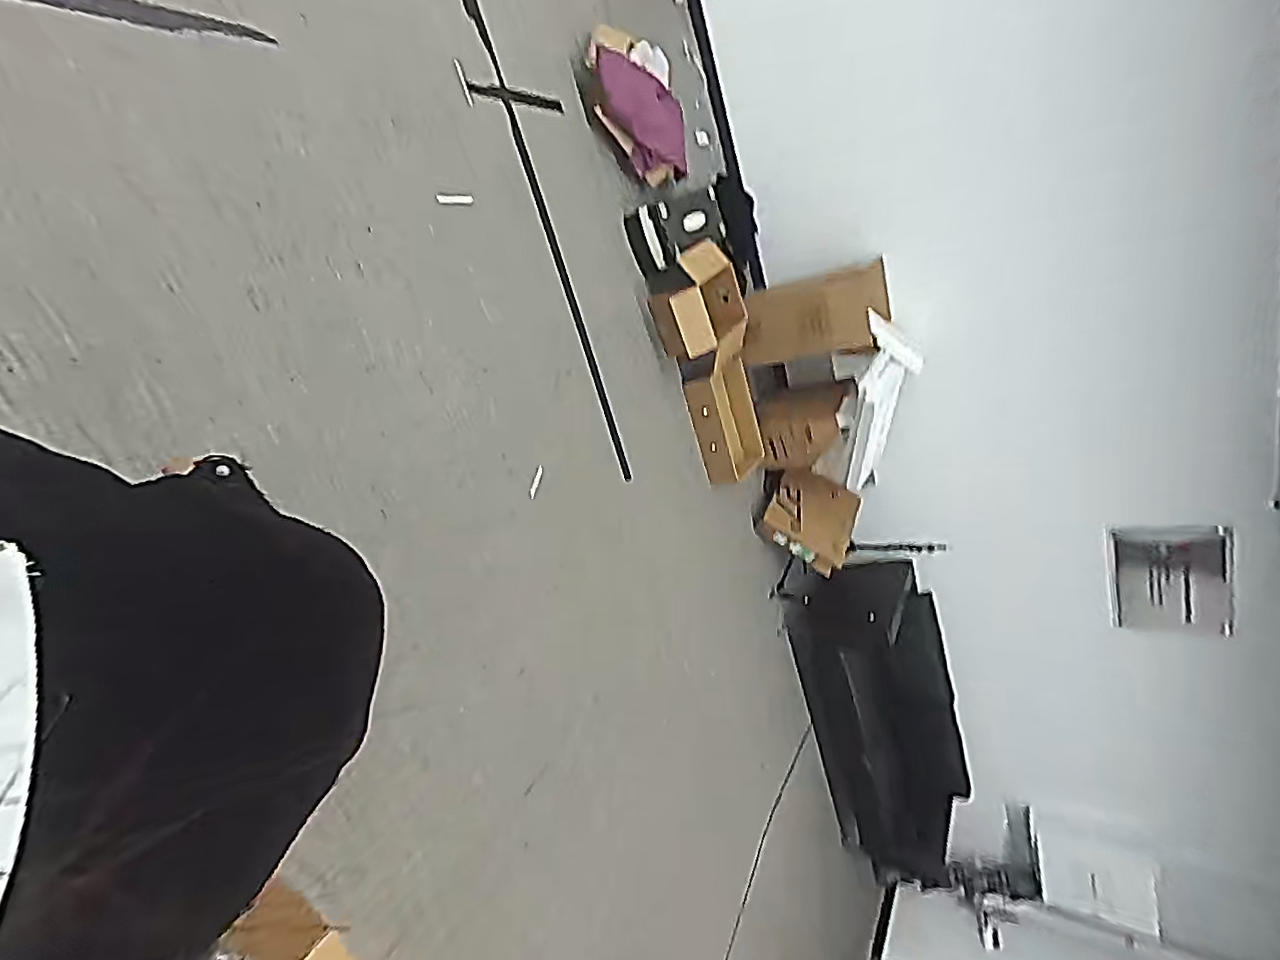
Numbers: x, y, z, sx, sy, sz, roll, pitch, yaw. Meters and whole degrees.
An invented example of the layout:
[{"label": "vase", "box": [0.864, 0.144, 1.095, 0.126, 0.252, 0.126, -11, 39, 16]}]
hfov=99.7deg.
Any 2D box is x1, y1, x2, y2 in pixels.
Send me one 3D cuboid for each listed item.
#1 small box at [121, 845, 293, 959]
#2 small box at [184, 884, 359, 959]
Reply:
[{"label": "small box", "box": [-0.590, 0.674, 0.780, 0.168, 0.176, 0.179, -38, 114, -49]}, {"label": "small box", "box": [-0.465, 0.652, 0.675, 0.168, 0.176, 0.179, -36, 112, -49]}]
